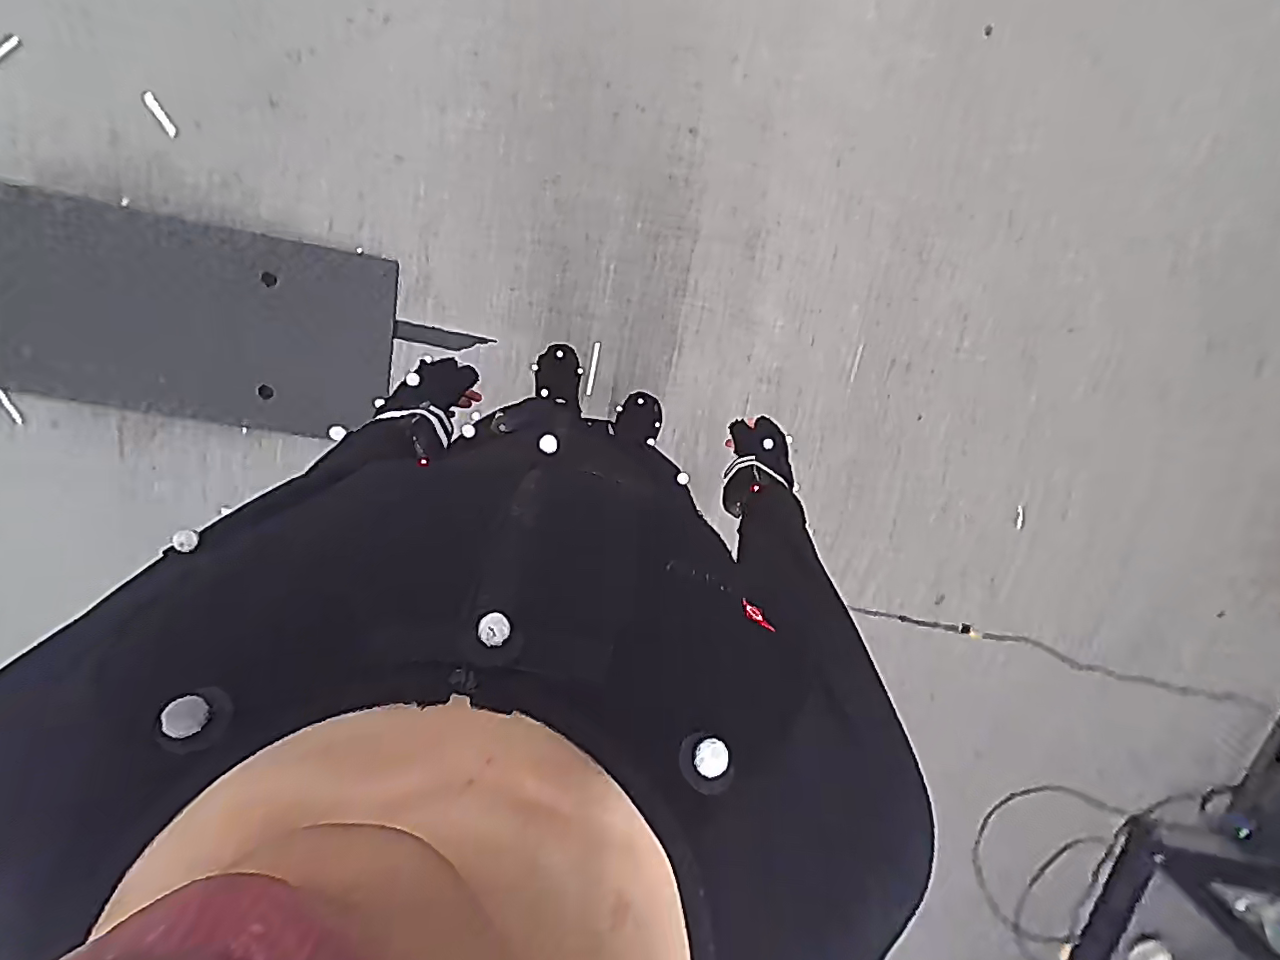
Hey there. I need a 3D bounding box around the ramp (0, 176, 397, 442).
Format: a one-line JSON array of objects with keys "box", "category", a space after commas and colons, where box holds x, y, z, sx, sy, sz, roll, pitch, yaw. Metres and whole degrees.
[{"box": [-1.146, -0.407, 1.343, 0.991, 0.206, 0.509, 9, 102, -1], "category": "ramp"}]
